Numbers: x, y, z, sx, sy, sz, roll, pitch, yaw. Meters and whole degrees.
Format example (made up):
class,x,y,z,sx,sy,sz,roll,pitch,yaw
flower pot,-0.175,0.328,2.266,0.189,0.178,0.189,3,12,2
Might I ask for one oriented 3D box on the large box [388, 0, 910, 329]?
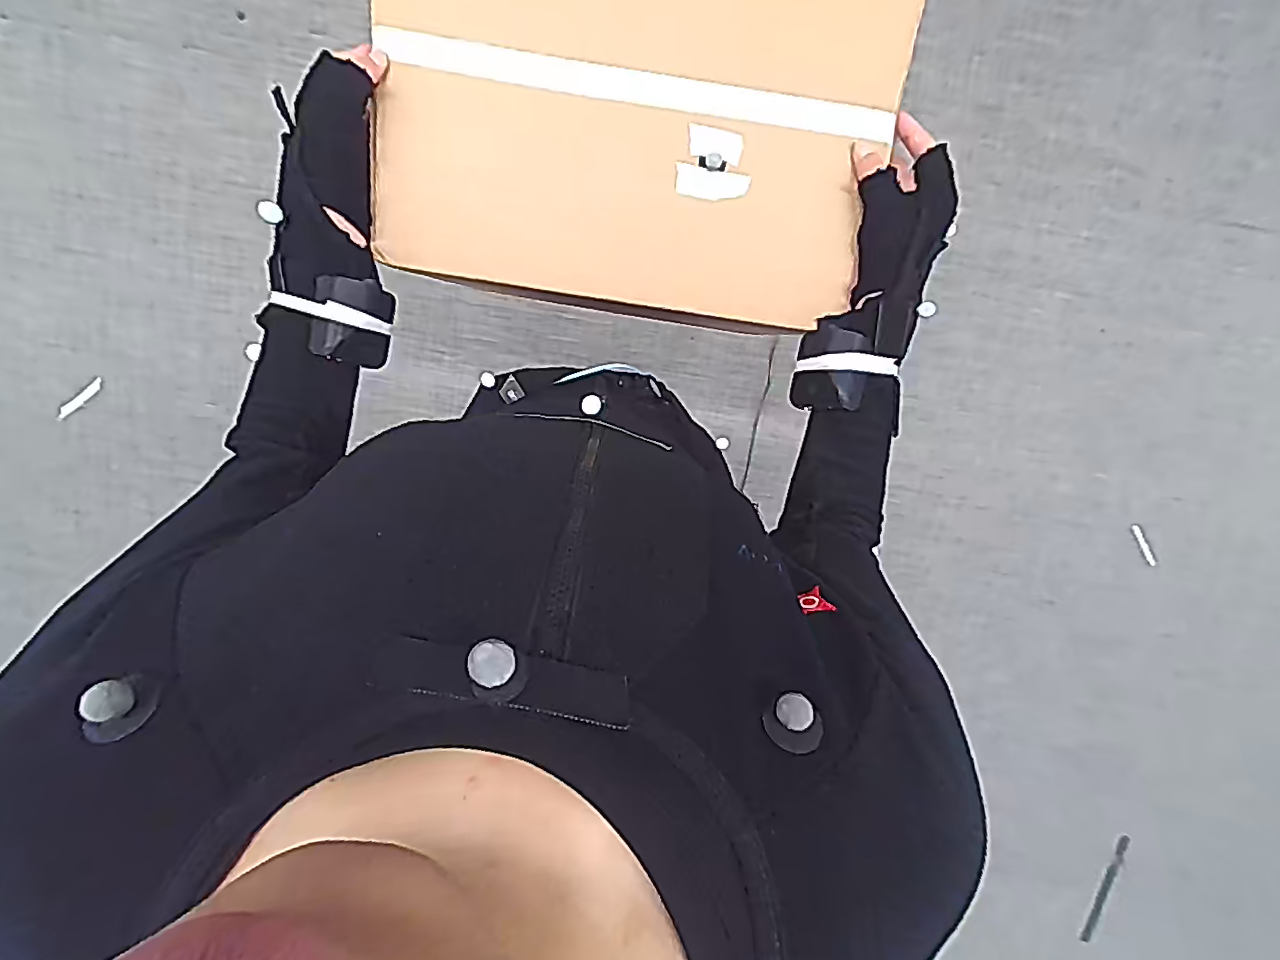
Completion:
class,x,y,z,sx,sy,sz,roll,pitch,yaw
large box,-0.003,-0.346,0.577,0.408,0.320,0.320,8,106,-3
